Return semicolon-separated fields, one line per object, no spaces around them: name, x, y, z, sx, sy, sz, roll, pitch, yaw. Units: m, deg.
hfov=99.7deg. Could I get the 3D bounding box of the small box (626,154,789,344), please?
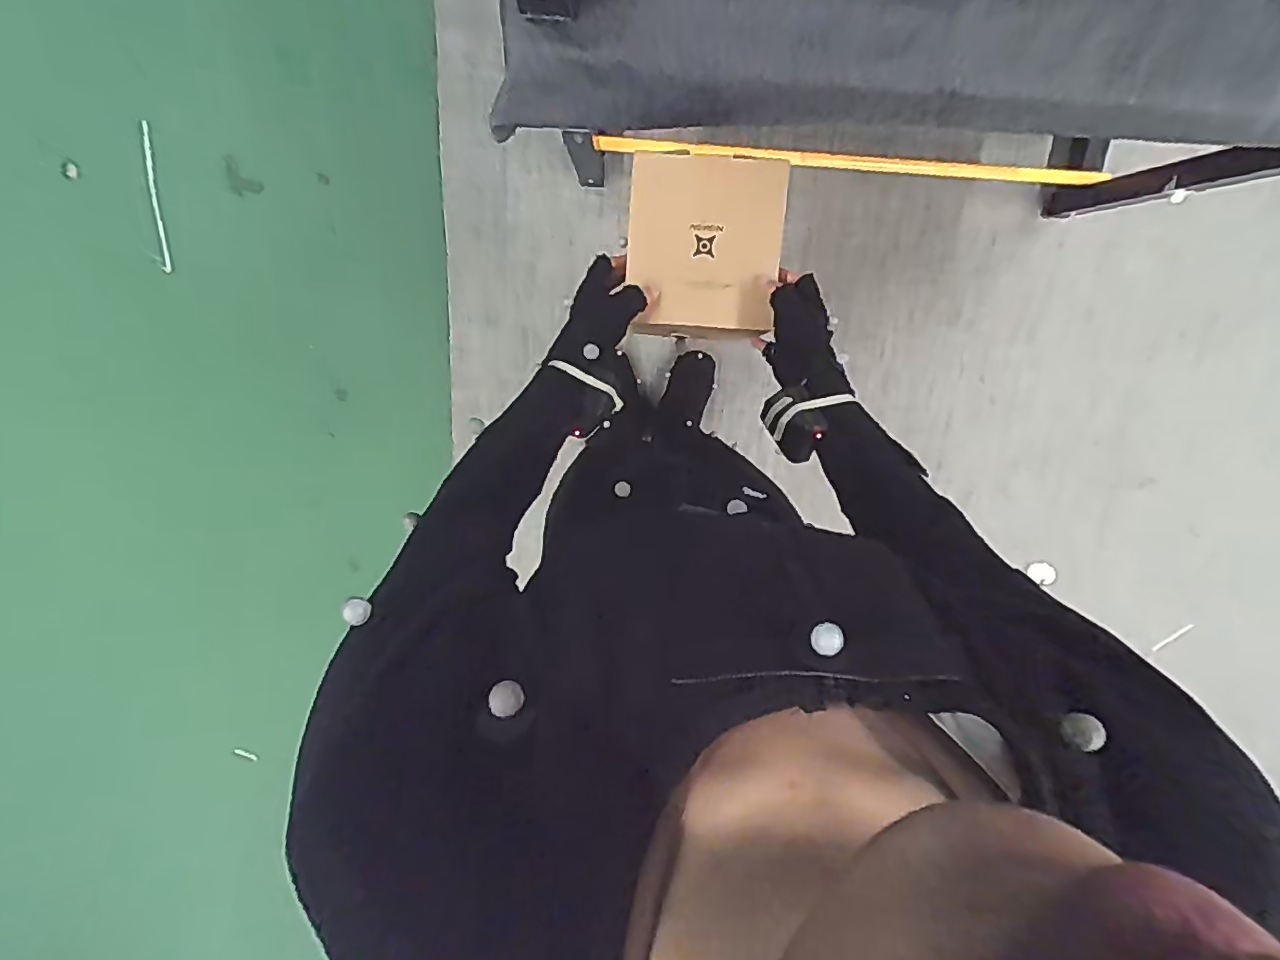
small box;0.073;-0.266;0.660;0.168;0.176;0.179;4;100;2
